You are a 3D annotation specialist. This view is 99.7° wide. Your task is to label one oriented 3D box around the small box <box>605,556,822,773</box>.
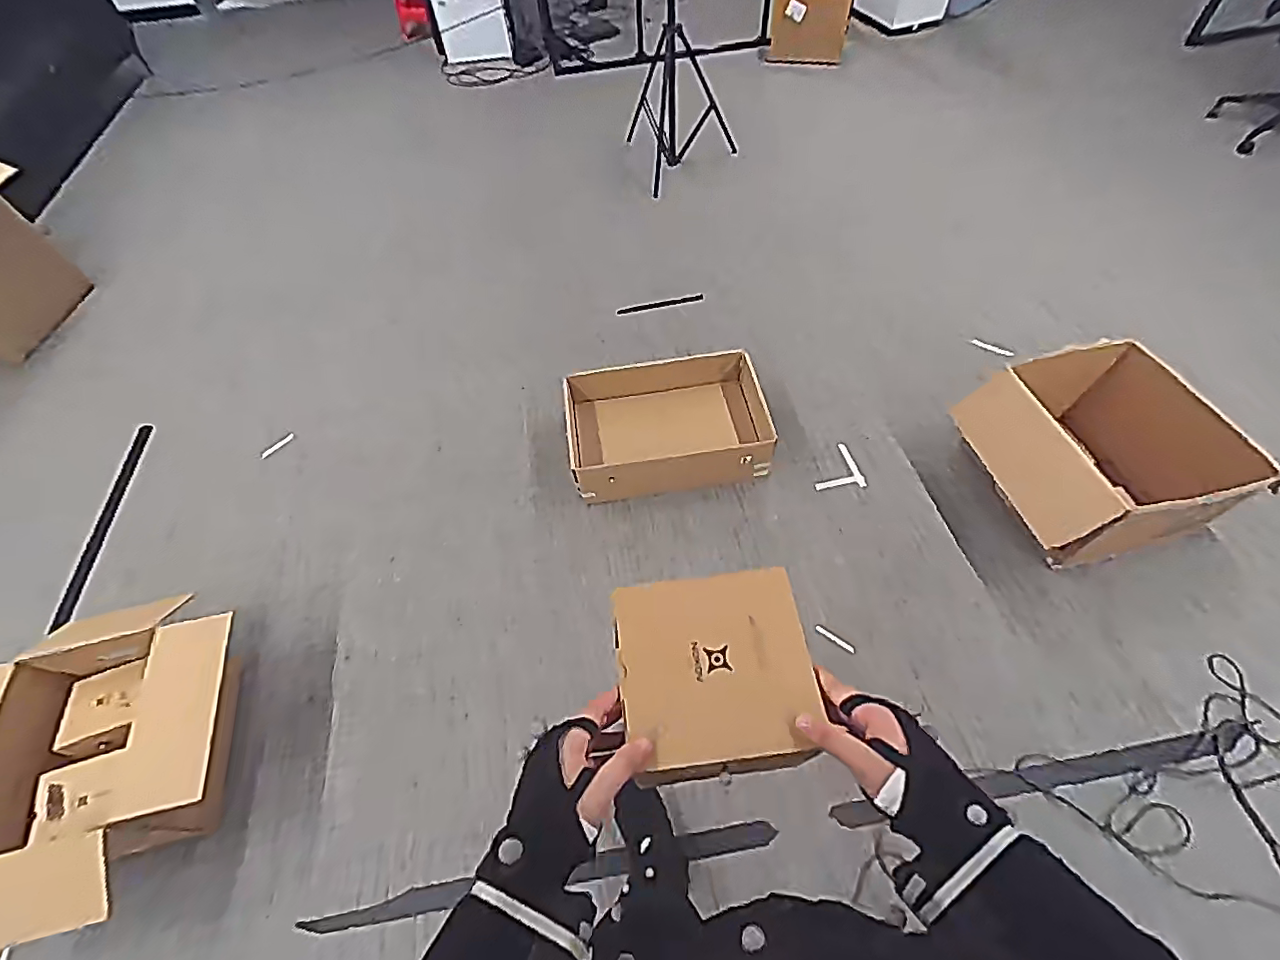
[{"bbox_3d":[0.065,0.198,0.564,0.179,0.176,0.168,-8,57,-2],"label":"small box"}]
